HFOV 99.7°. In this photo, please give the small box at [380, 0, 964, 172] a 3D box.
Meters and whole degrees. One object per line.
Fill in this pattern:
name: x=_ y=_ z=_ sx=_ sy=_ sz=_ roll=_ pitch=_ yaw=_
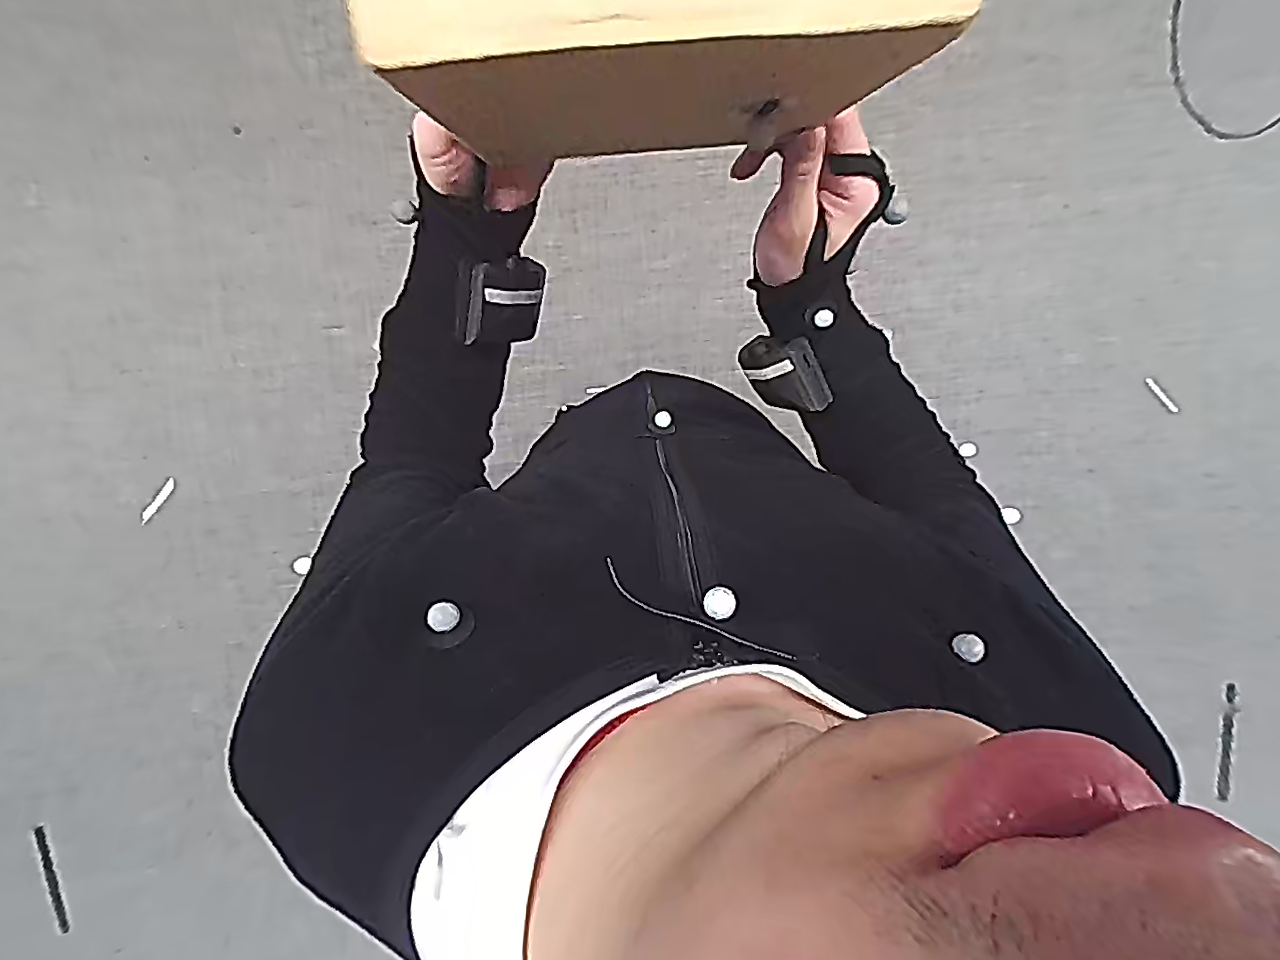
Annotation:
small box: x=-0.001 y=-0.232 z=0.208 sx=0.179 sy=0.176 sz=0.168 roll=-8 pitch=111 yaw=0
